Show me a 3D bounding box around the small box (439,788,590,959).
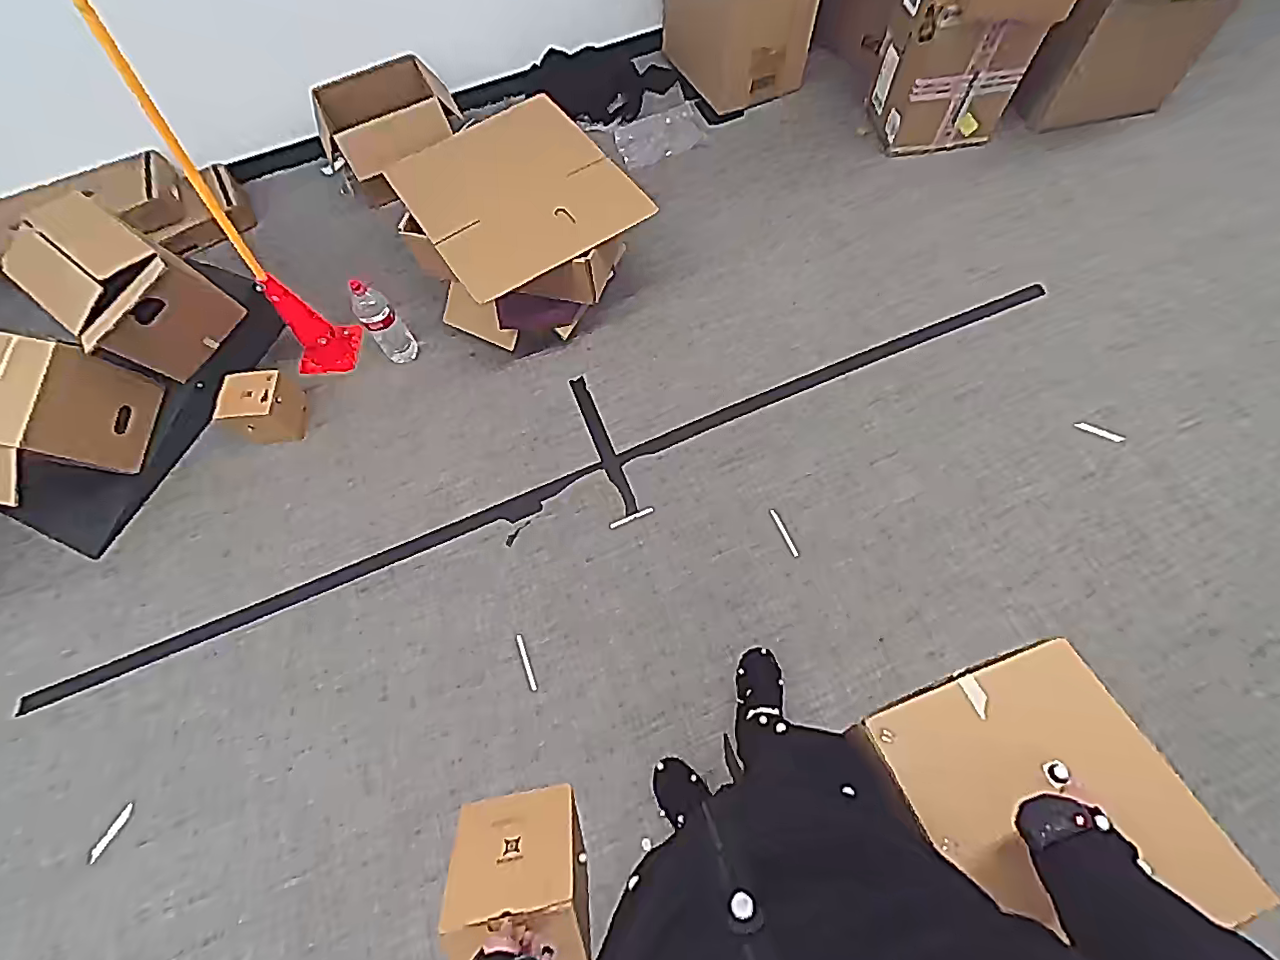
[{"bbox_3d":[-0.163,0.580,0.756,0.168,0.179,0.176,-8,109,-5],"label":"small box"}]
